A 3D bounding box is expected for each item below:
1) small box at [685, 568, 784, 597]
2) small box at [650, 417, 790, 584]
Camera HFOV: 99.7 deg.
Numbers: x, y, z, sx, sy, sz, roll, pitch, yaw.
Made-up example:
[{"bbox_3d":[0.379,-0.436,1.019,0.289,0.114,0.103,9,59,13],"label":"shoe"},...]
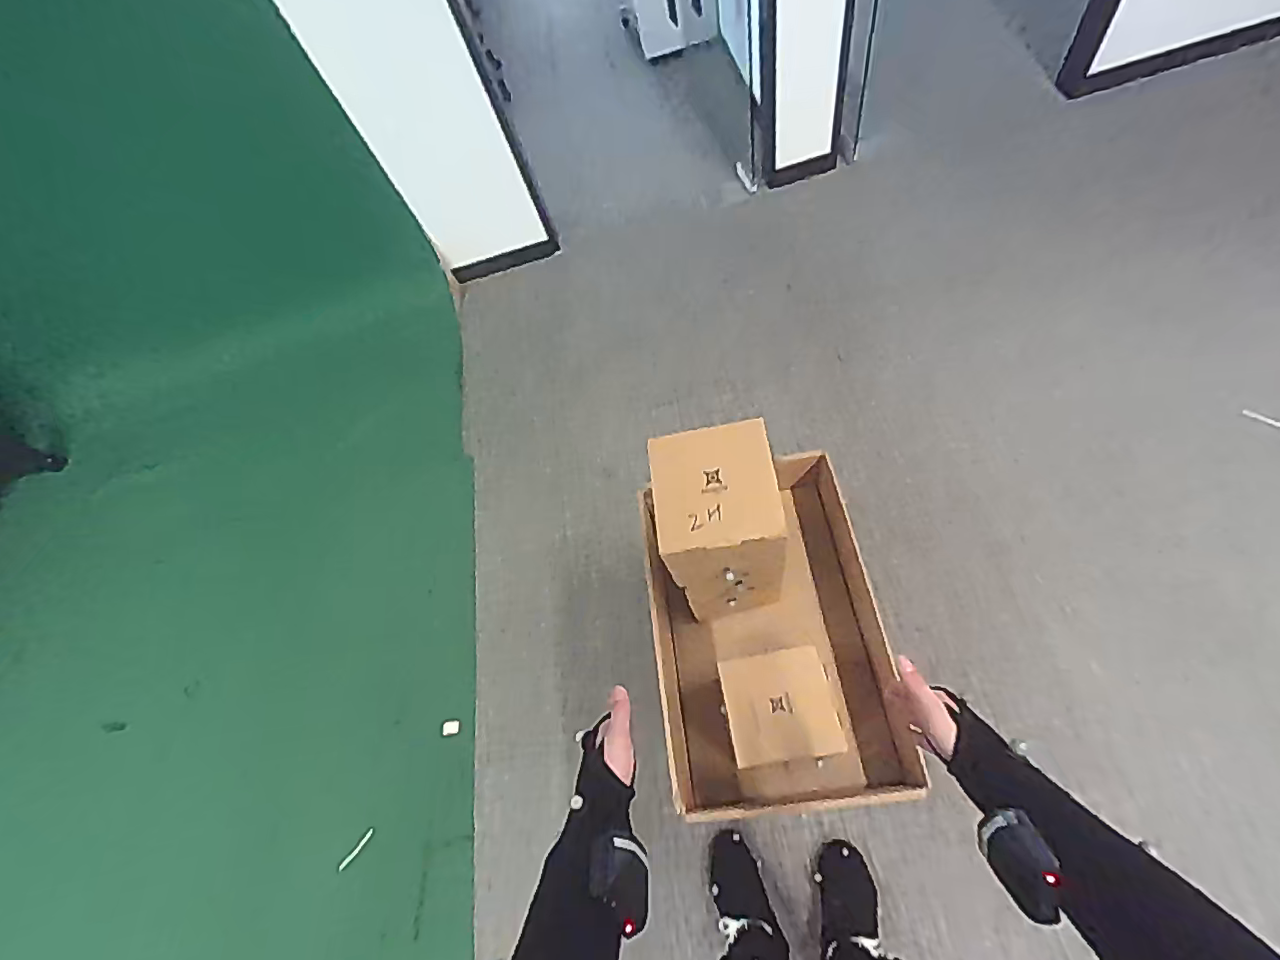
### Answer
[{"bbox_3d":[0.147,0.092,0.932,0.168,0.176,0.179,-16,63,5],"label":"small box"},{"bbox_3d":[0.115,0.036,0.779,0.168,0.176,0.179,-10,64,10],"label":"small box"}]
